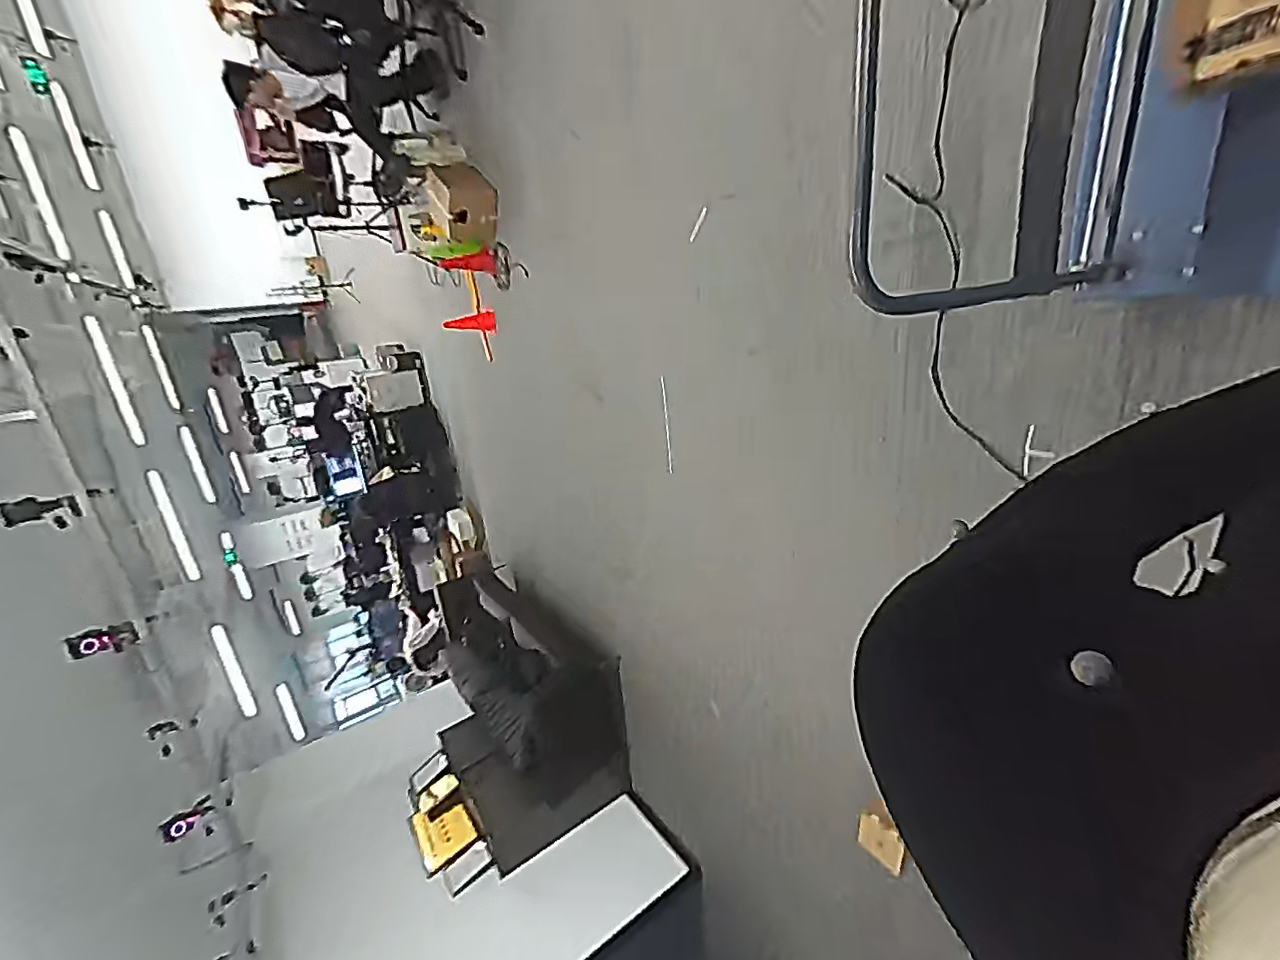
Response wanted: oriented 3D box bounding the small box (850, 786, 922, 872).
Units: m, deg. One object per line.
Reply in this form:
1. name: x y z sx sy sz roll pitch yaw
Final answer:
1. small box: 0.914 1.291 2.007 0.168 0.176 0.179 32 129 43
